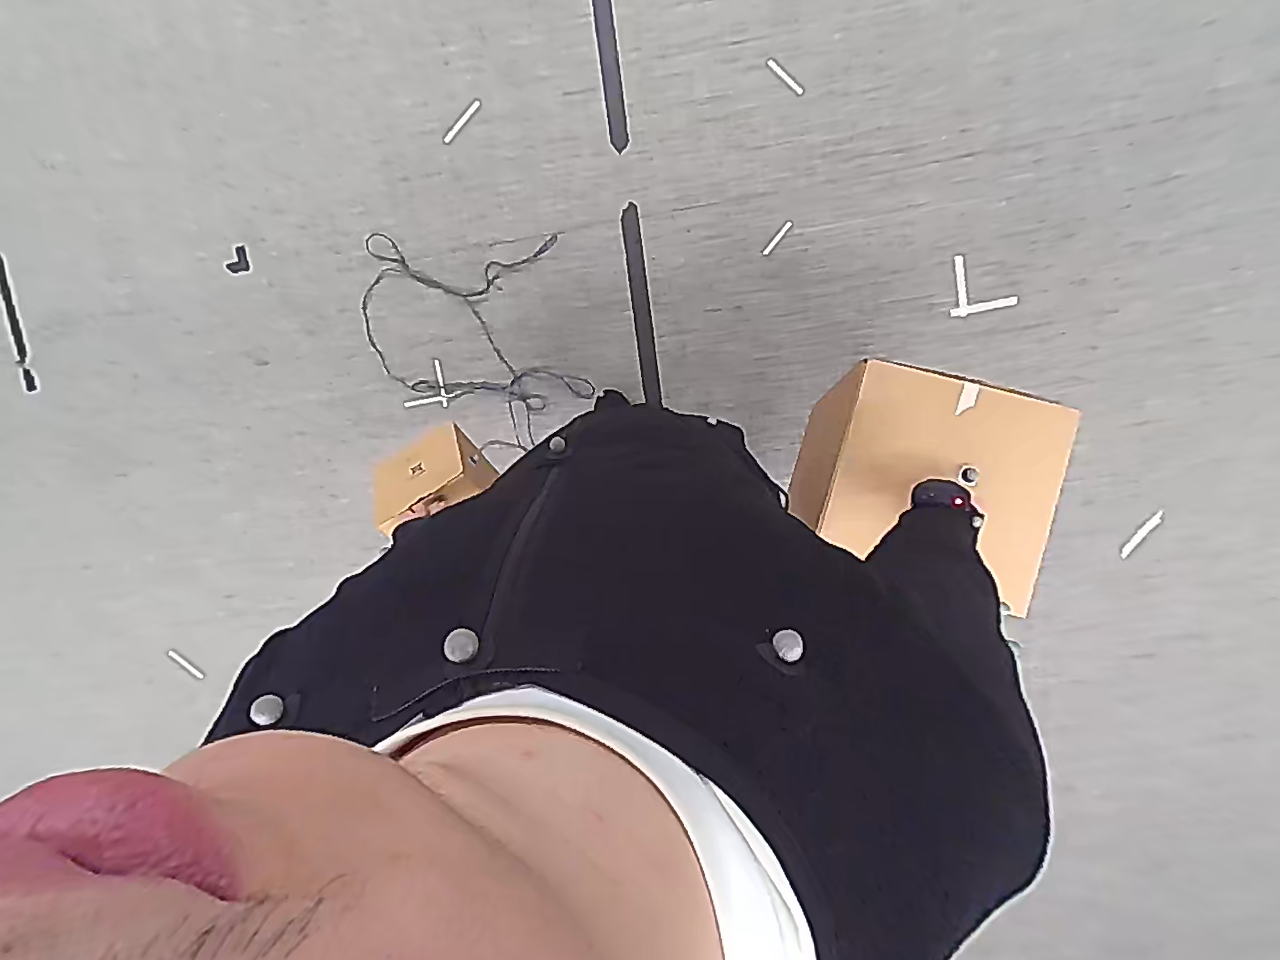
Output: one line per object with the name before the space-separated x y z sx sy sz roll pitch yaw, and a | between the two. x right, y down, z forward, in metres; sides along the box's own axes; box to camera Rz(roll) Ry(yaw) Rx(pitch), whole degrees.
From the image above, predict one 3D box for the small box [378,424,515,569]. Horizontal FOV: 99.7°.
small box | -0.348 0.038 0.981 0.168 0.179 0.176 -32 131 -1
